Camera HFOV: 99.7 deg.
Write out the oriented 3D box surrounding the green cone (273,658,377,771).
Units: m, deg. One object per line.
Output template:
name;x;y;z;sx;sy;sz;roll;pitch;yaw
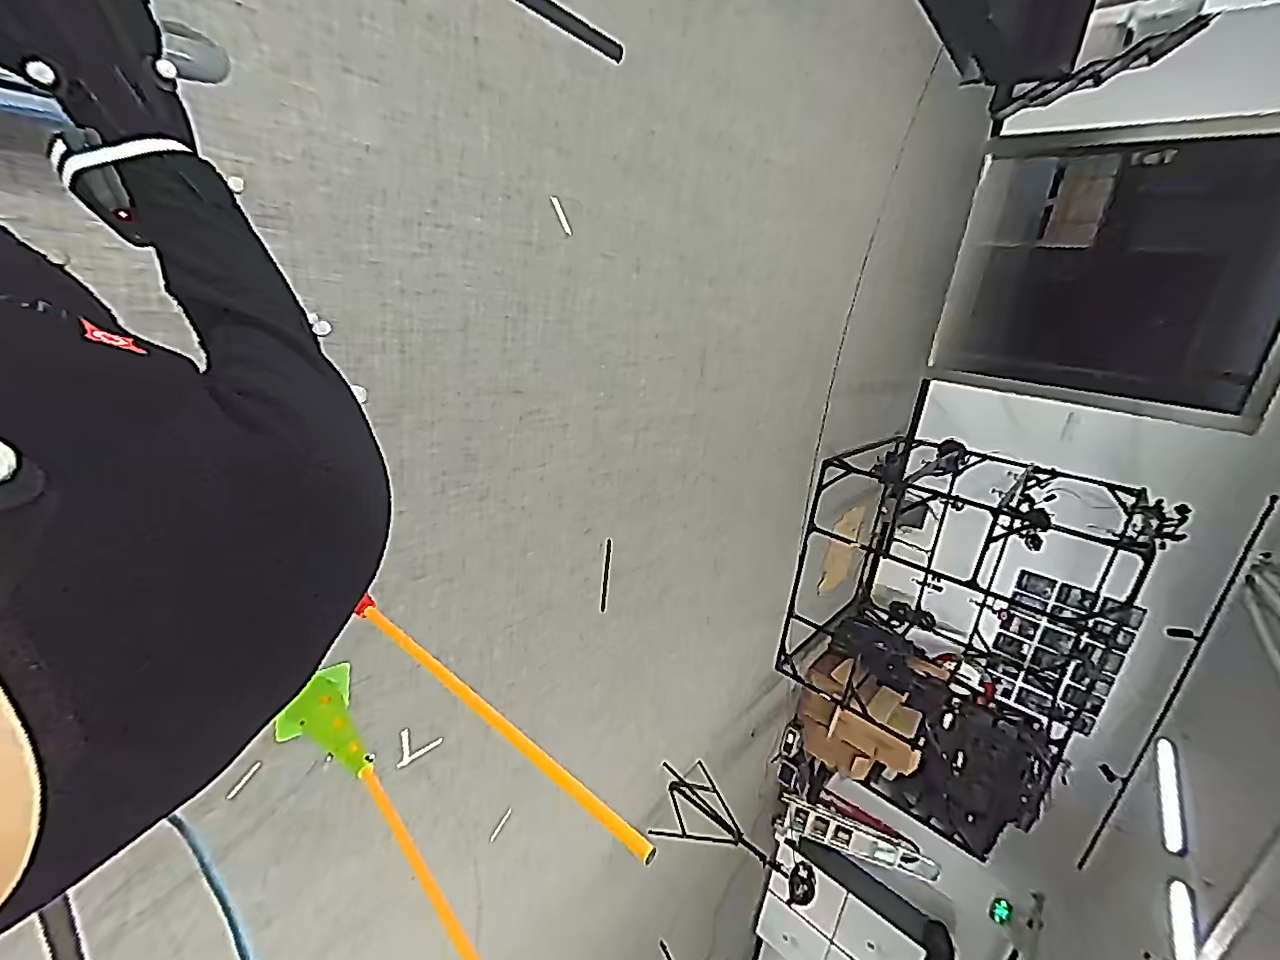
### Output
green cone;-0.849;0.697;1.512;0.202;0.368;0.200;-10;115;-51
